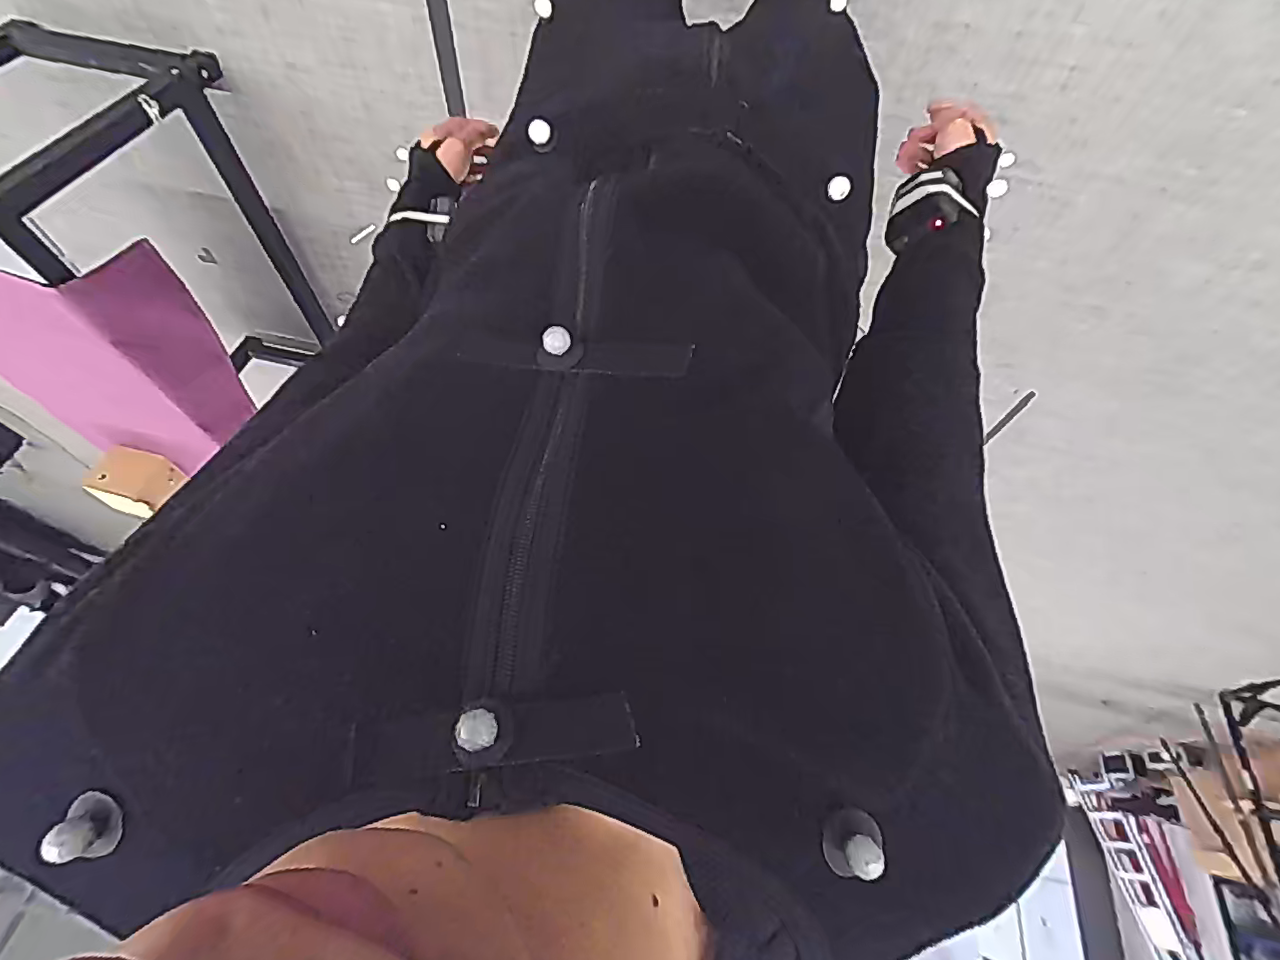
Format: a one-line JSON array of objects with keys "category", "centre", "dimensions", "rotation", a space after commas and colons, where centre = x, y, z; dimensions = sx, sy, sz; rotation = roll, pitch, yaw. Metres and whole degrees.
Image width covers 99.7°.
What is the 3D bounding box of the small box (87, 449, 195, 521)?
[{"category": "small box", "centre": [-1.689, 0.014, 1.843], "dimensions": [0.179, 0.176, 0.168], "rotation": [13, 149, 1]}]
